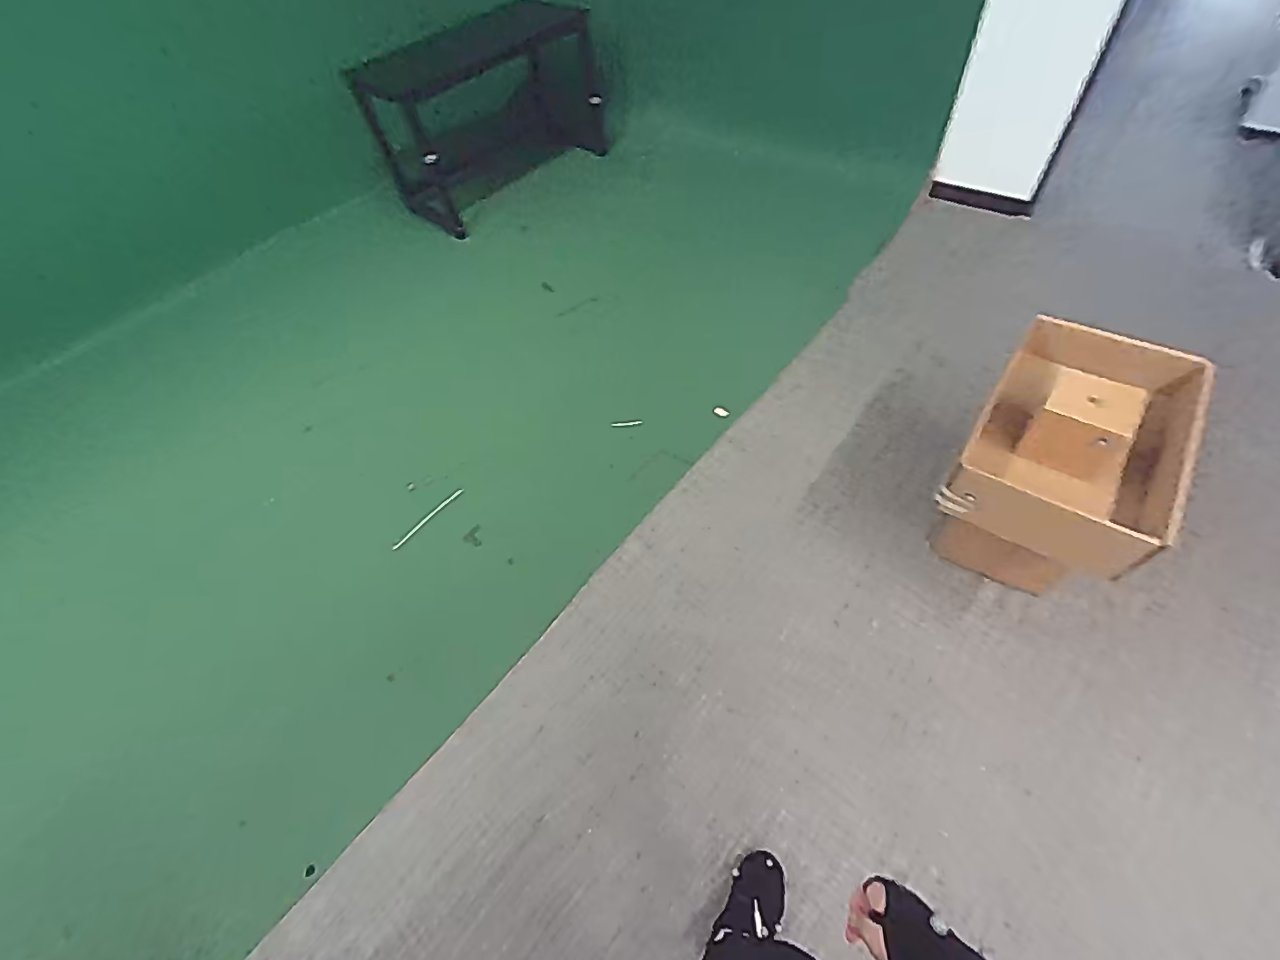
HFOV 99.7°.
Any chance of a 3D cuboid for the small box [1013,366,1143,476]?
[{"bbox_3d":[1.045,-0.138,1.305,0.179,0.176,0.168,29,62,24],"label":"small box"}]
